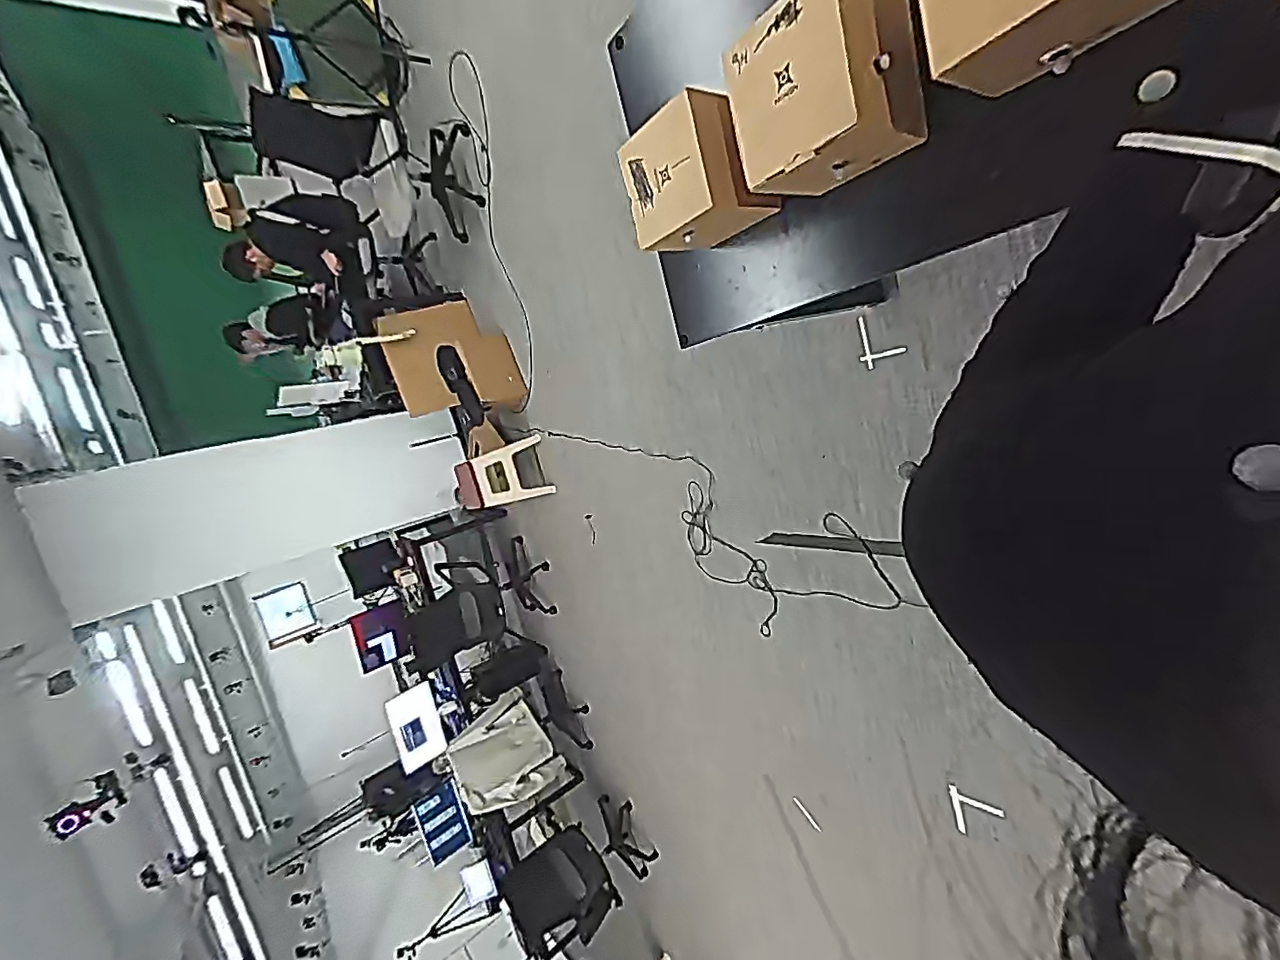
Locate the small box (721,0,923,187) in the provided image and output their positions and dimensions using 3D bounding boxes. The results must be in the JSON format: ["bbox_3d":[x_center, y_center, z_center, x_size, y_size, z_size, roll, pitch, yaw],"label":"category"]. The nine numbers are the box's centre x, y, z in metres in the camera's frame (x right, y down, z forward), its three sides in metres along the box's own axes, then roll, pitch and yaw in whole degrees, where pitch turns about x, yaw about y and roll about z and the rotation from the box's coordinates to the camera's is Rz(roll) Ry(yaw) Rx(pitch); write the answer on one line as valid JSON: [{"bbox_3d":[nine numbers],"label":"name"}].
[{"bbox_3d":[0.235,-0.500,0.690,0.168,0.176,0.179,-3,104,53],"label":"small box"}]

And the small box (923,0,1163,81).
[{"bbox_3d":[0.377,-0.511,0.497,0.168,0.176,0.179,-4,104,55],"label":"small box"}]

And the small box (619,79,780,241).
[{"bbox_3d":[0.096,-0.501,0.875,0.179,0.176,0.168,-3,104,53],"label":"small box"}]
